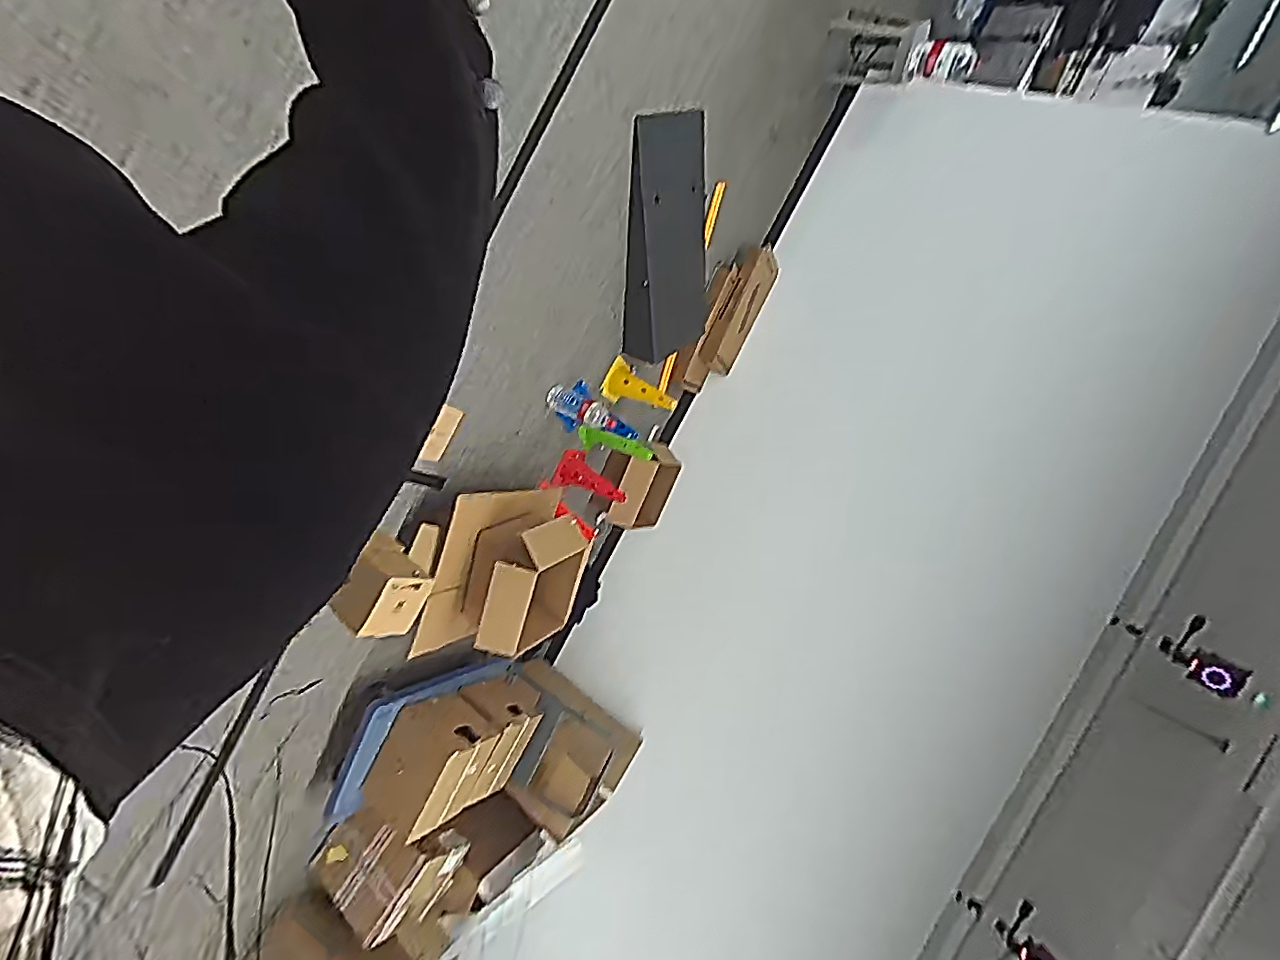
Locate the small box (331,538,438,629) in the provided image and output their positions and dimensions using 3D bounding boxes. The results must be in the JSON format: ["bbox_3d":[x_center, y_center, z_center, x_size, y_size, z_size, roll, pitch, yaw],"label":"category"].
[{"bbox_3d":[-0.697,0.282,1.465,0.179,0.176,0.168,-59,155,1],"label":"small box"}]

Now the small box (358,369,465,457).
[{"bbox_3d":[-0.630,-0.186,1.486,0.168,0.176,0.179,-62,158,2],"label":"small box"}]

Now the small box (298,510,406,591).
[{"bbox_3d":[-0.819,0.200,1.539,0.168,0.176,0.179,-61,156,2],"label":"small box"}]
